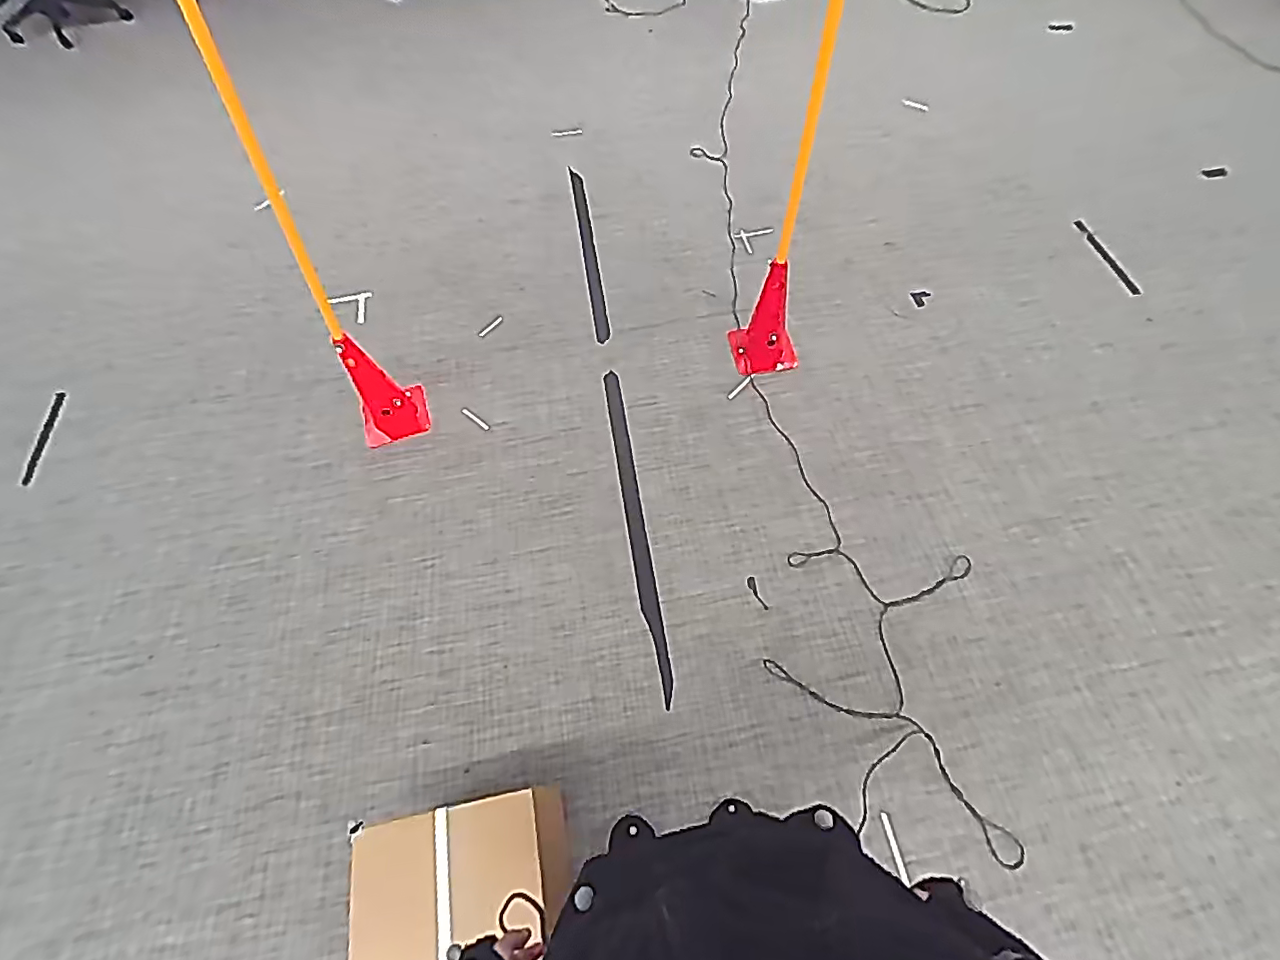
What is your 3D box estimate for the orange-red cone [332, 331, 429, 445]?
[{"bbox_3d":[-0.785,-0.290,1.571,0.199,0.360,0.198,-18,61,-6],"label":"orange-red cone"}]
